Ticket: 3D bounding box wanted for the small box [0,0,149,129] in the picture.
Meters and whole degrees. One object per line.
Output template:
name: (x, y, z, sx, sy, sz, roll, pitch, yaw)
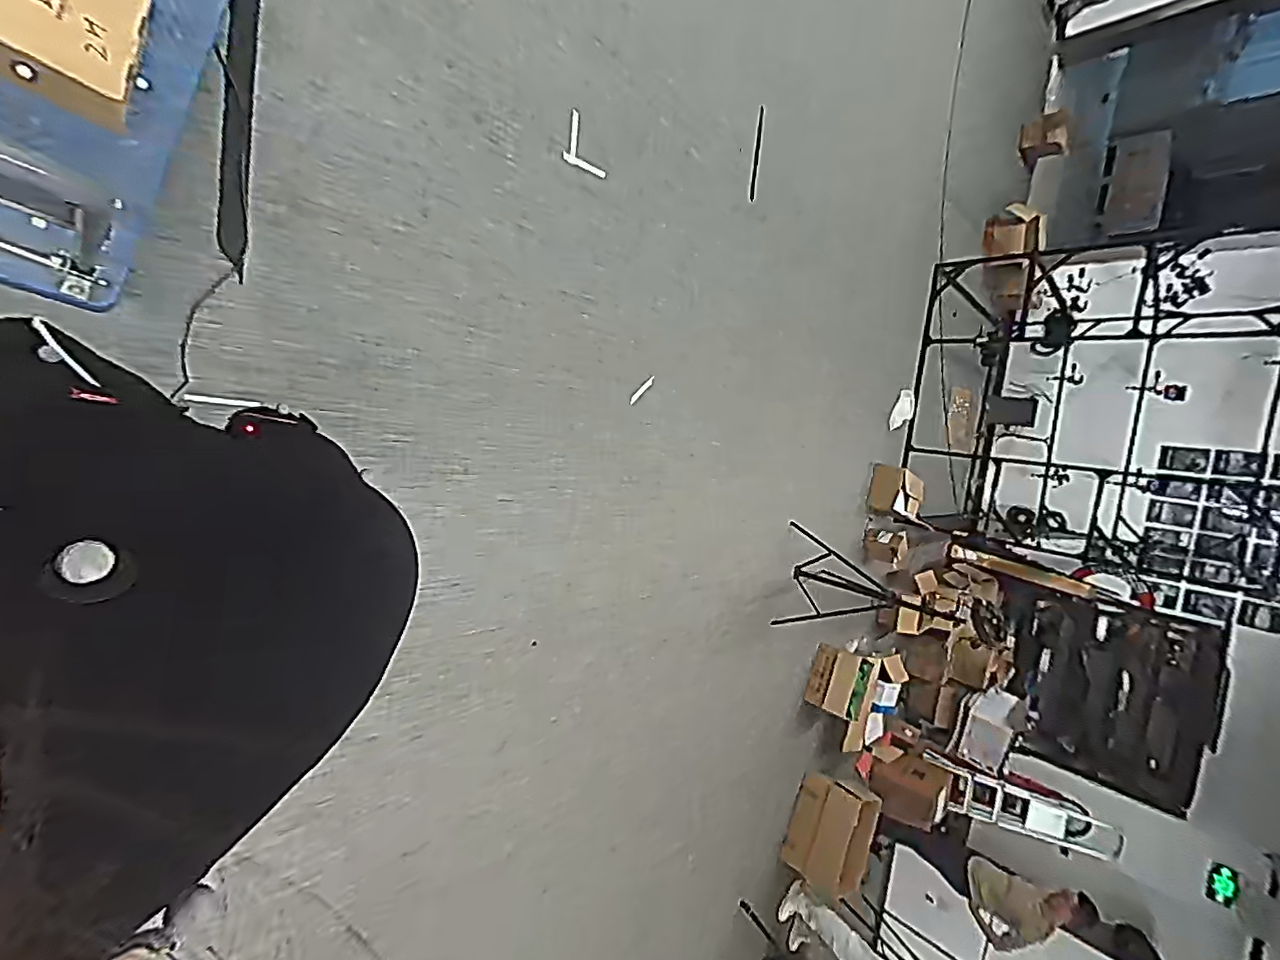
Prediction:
small box: (-0.857, -0.656, 0.788, 0.179, 0.176, 0.168, 16, 87, -46)
